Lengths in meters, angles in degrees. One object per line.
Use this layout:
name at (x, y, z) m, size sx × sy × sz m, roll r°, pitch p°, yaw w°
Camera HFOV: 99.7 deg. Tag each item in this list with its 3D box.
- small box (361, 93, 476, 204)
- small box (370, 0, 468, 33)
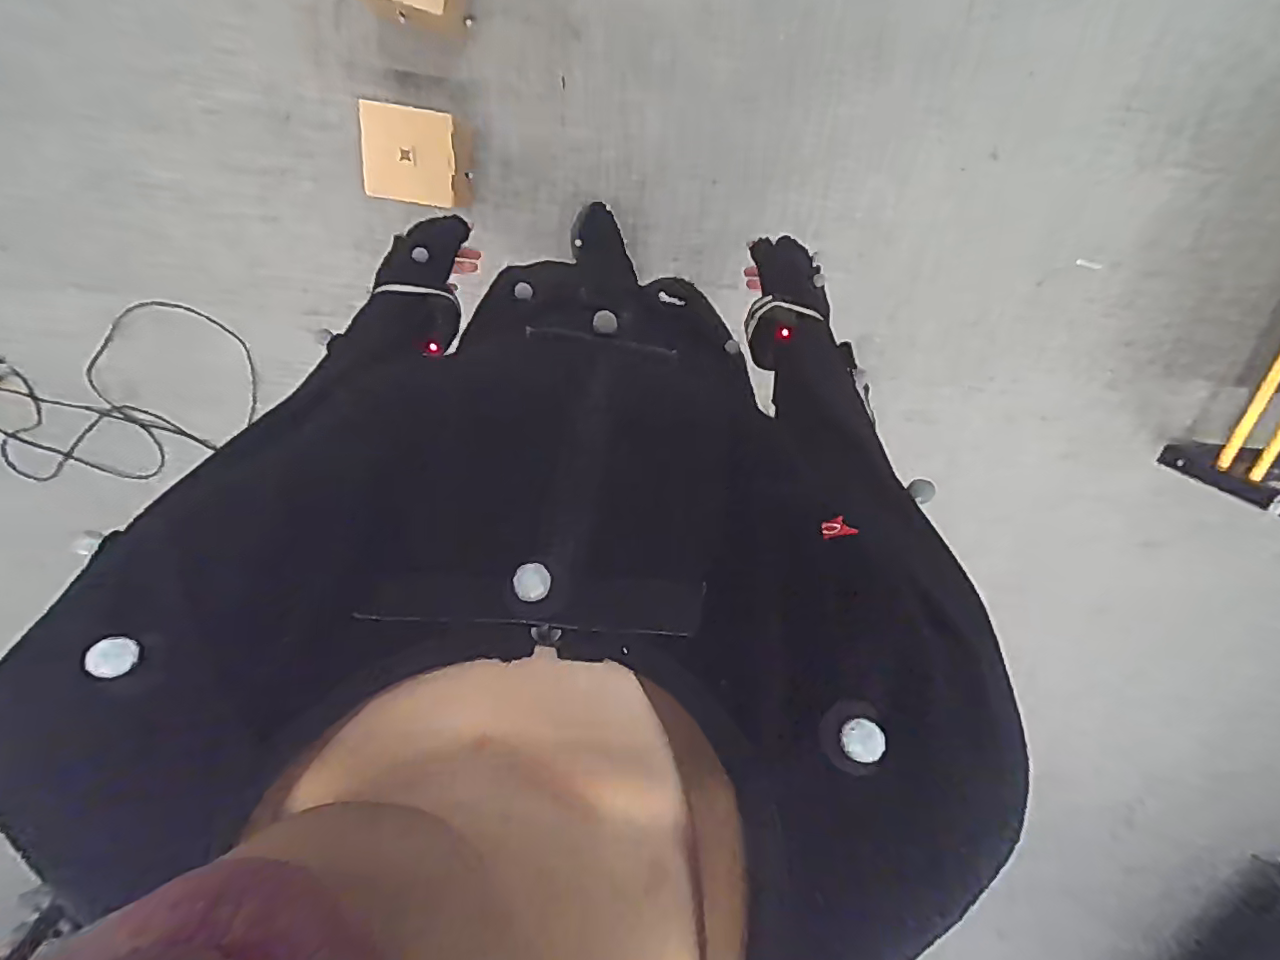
small box at (-0.451, -0.677, 1.125) m, size 0.179 × 0.176 × 0.168 m, roll 6°, pitch 115°, yaw -5°
small box at (-0.415, -0.959, 0.990) m, size 0.179 × 0.176 × 0.168 m, roll 12°, pitch 114°, yaw -7°
